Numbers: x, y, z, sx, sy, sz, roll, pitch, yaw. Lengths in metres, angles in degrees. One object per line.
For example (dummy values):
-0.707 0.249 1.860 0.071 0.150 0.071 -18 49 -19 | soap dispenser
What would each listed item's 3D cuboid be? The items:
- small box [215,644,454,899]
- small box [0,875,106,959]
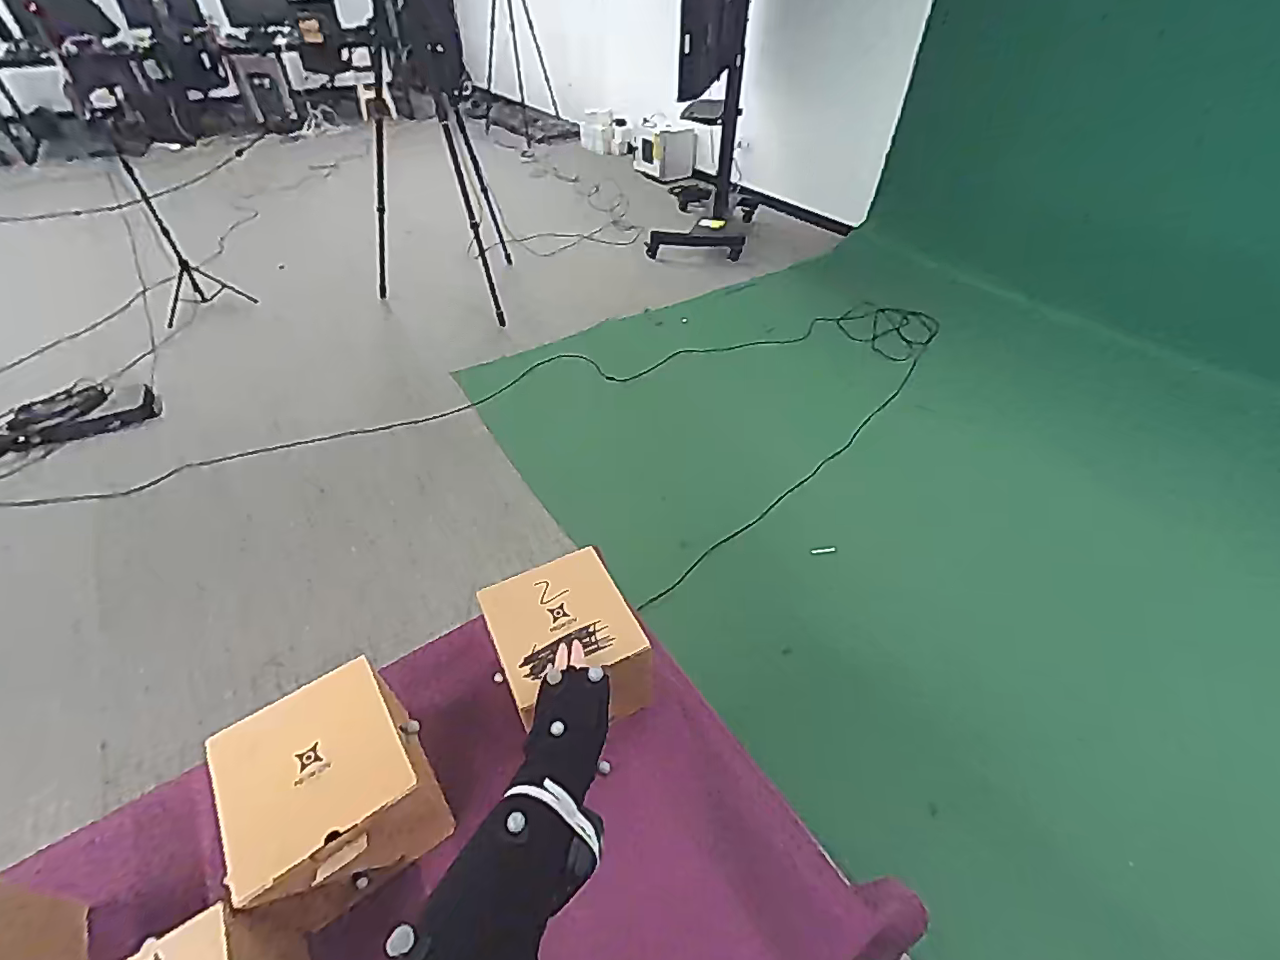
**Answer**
-0.337 0.331 0.616 0.168 0.176 0.179 -28 54 -25 | small box
-0.614 0.482 0.467 0.168 0.176 0.179 -26 52 -25 | small box
